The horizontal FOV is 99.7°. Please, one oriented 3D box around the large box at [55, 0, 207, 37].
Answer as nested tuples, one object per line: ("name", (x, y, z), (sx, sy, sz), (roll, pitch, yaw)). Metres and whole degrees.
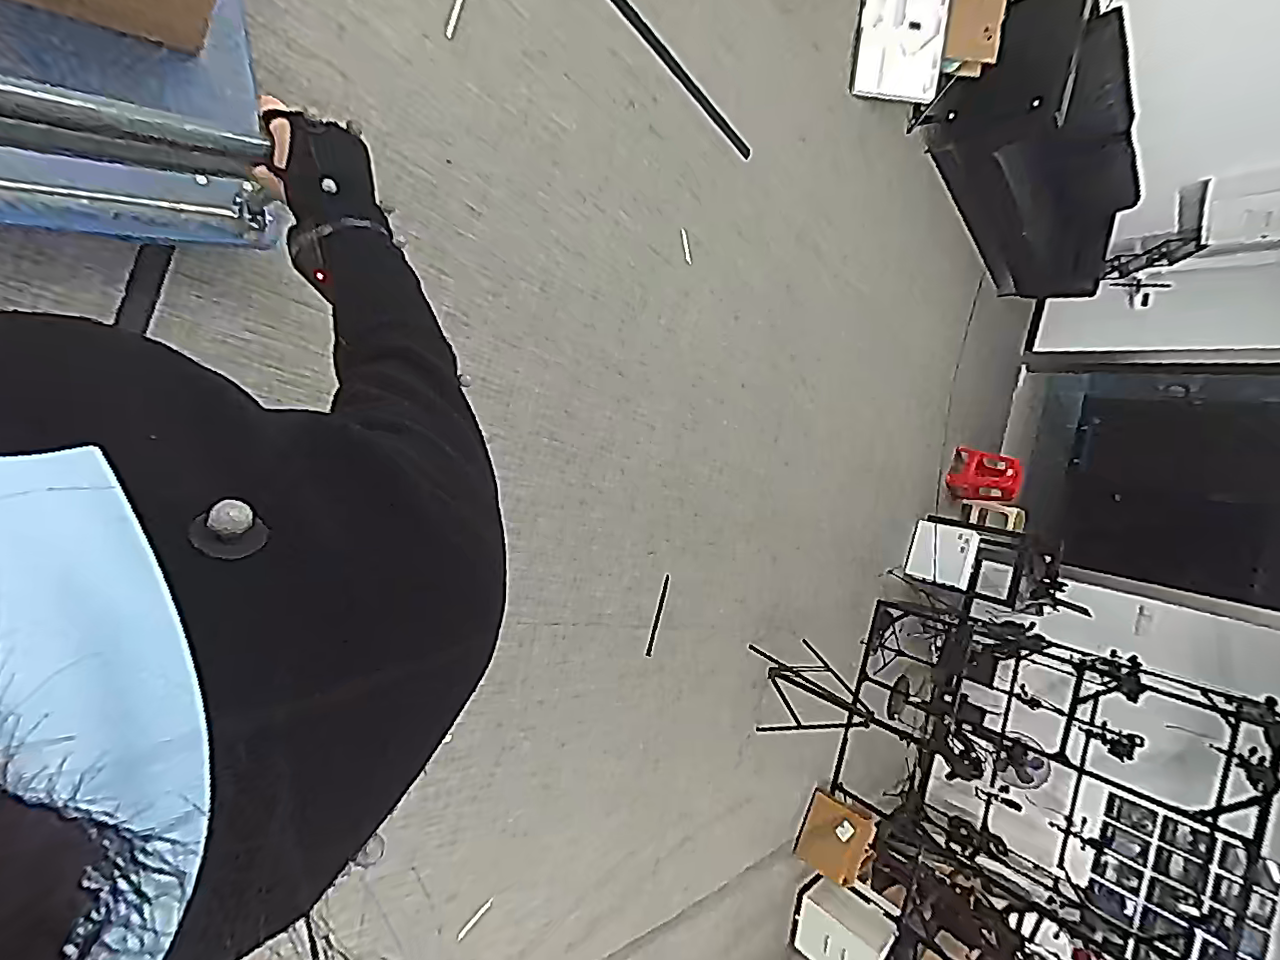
("large box", (-0.831, -0.864, 0.686), (0.408, 0.320, 0.320), (-13, 107, -41))
